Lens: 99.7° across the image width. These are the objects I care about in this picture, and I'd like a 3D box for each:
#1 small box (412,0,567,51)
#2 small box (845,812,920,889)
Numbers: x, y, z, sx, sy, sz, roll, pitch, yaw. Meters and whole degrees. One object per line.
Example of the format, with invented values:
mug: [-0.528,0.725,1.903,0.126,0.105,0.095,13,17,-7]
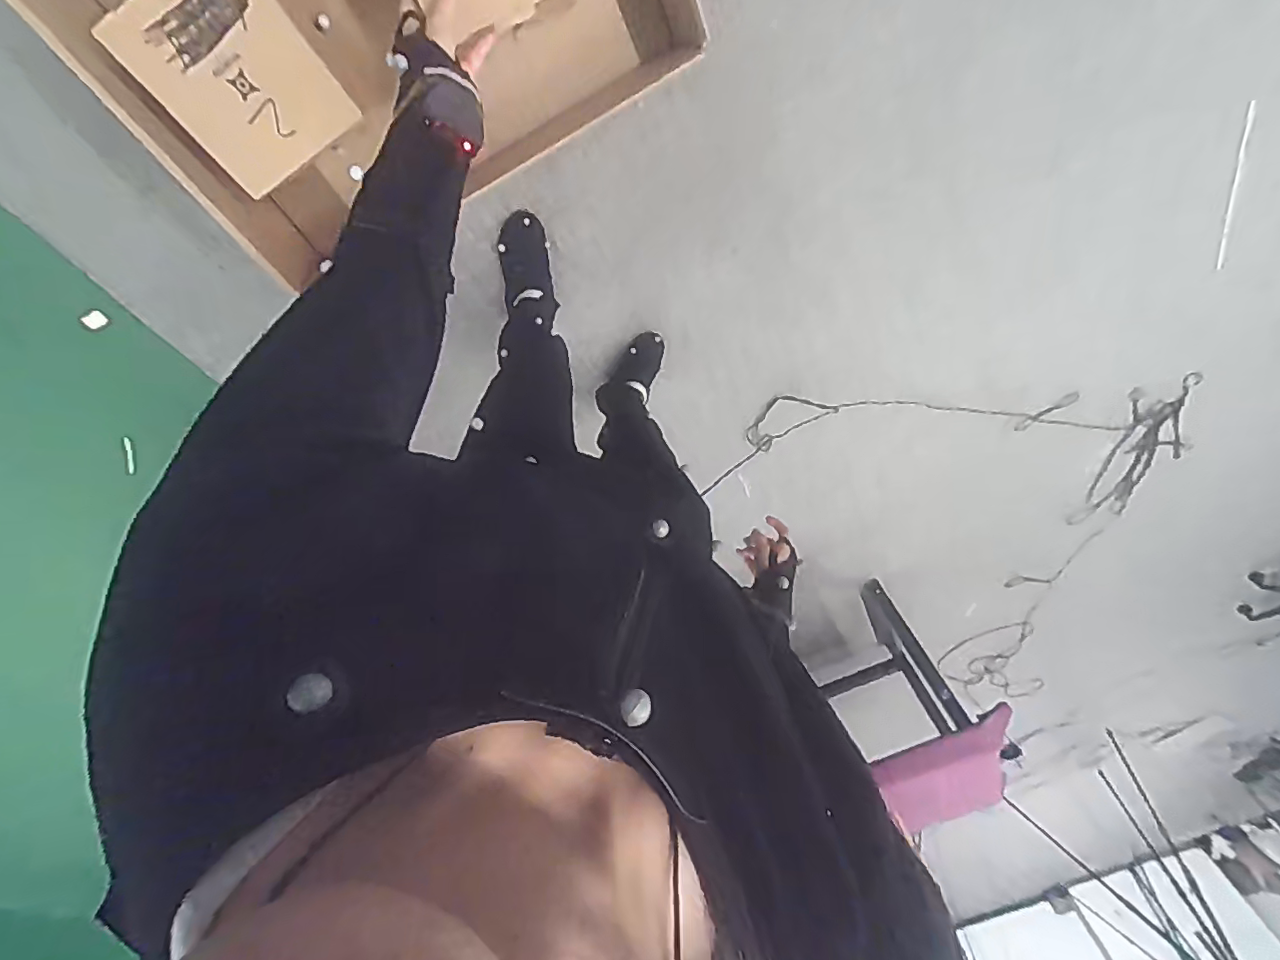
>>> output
small box: [-0.173,-0.576,0.556,0.168,0.176,0.179,-21,126,4]
small box: [0.846,1.293,1.889,0.168,0.176,0.179,-29,128,10]
